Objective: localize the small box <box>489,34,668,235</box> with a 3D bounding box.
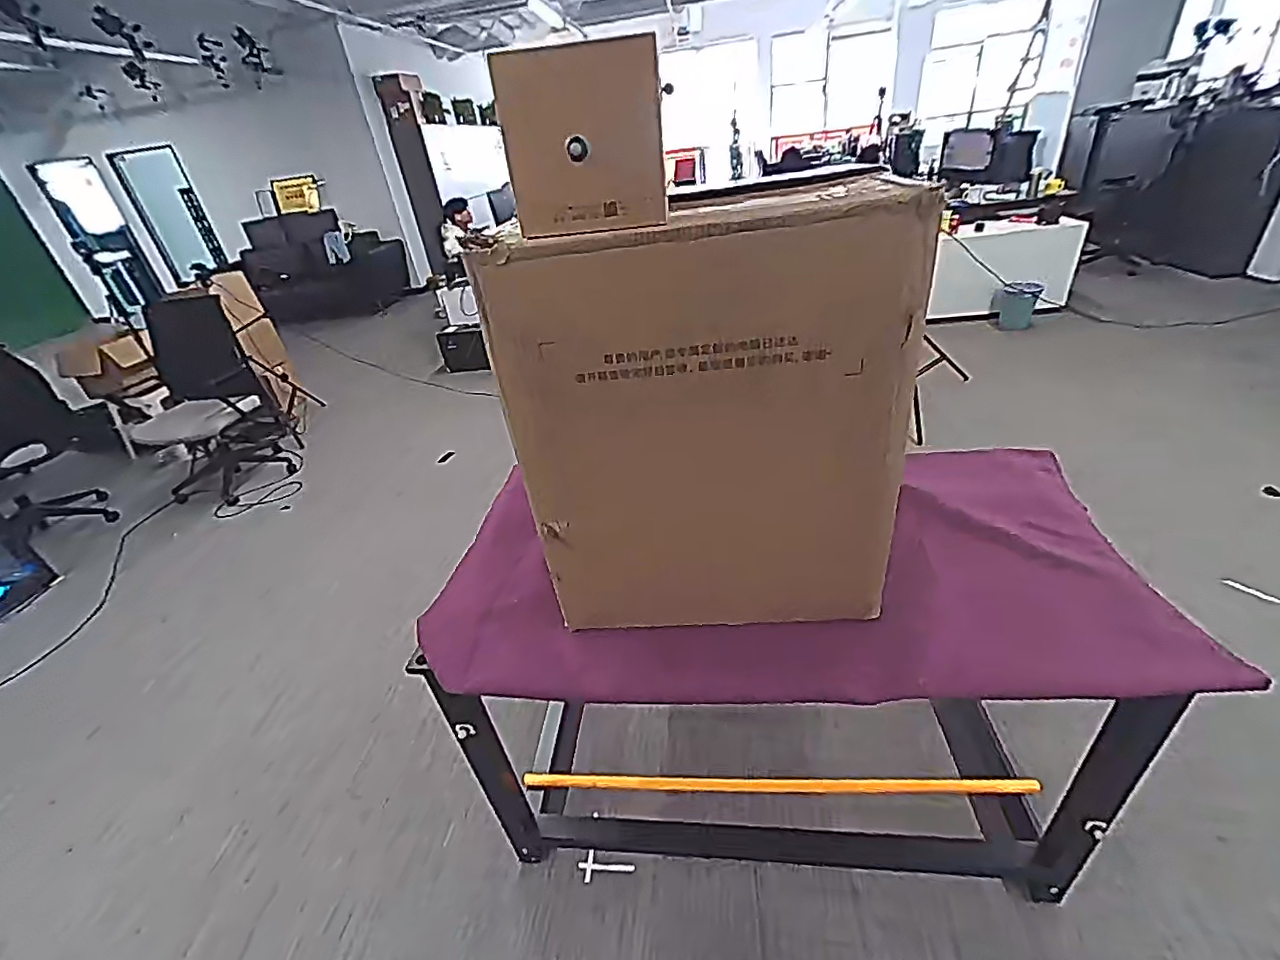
[{"bbox_3d":[-0.054,-0.388,0.626,0.168,0.176,0.179,-3,33,5],"label":"small box"}]
